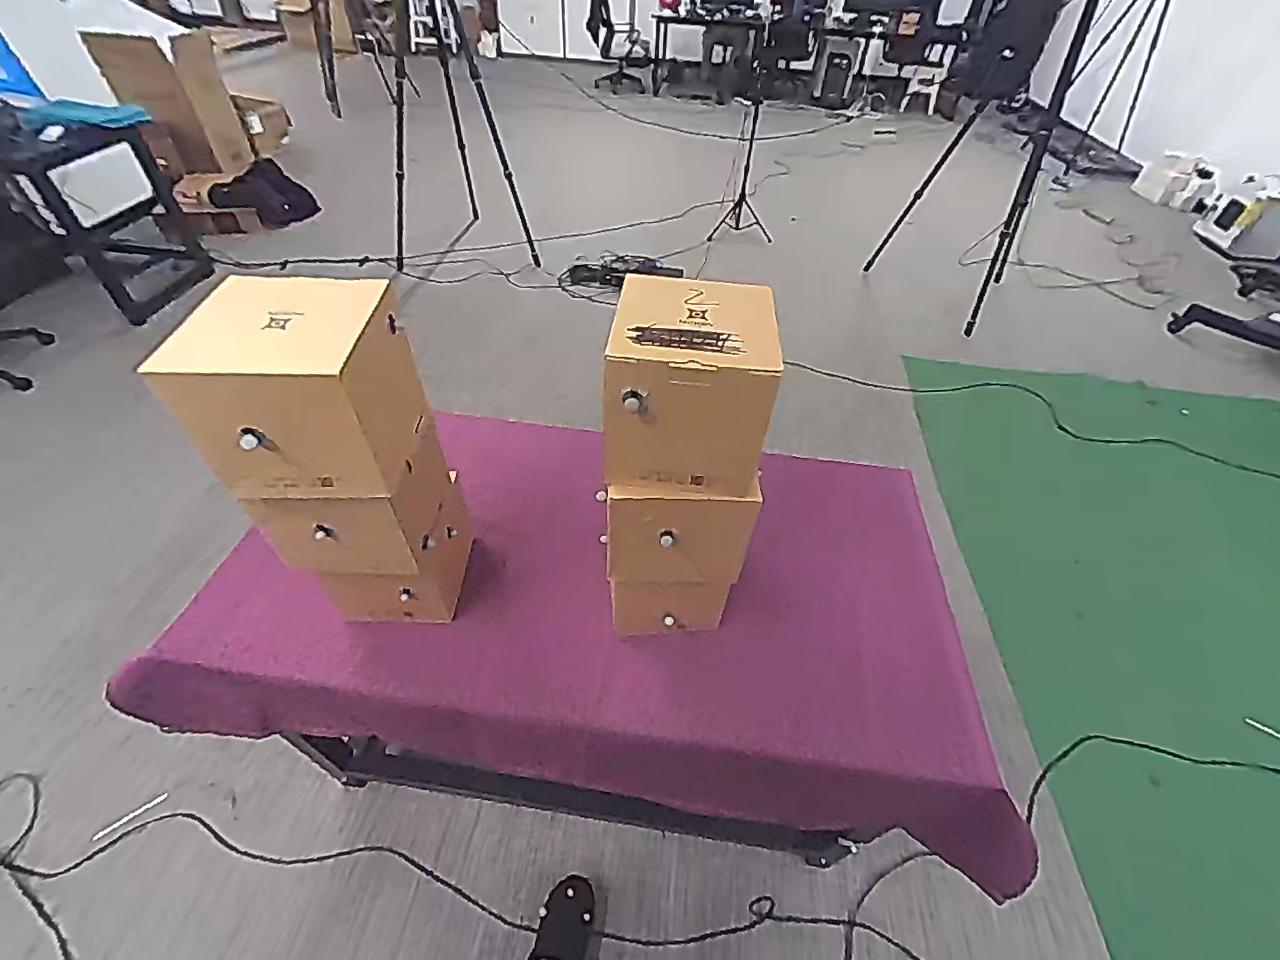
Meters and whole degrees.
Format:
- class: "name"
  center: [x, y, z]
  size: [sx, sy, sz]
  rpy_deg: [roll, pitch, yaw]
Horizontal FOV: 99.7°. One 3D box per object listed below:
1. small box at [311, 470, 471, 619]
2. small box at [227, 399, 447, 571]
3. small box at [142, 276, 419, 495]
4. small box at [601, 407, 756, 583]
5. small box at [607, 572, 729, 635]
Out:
- class: "small box"
  center: [-0.372, 0.100, 0.841]
  size: [0.168, 0.176, 0.179]
  rpy_deg: [3, 45, -2]
- class: "small box"
  center: [-0.369, 0.005, 0.705]
  size: [0.179, 0.176, 0.168]
  rpy_deg: [3, 46, -1]
- class: "small box"
  center: [-0.353, -0.098, 0.580]
  size: [0.168, 0.176, 0.179]
  rpy_deg: [0, 46, -5]
- class: "small box"
  center: [0.042, 0.021, 0.712]
  size: [0.179, 0.176, 0.168]
  rpy_deg: [2, 46, -2]
- class: "small box"
  center: [0.033, 0.120, 0.844]
  size: [0.168, 0.176, 0.179]
  rpy_deg: [-2, 46, -5]
